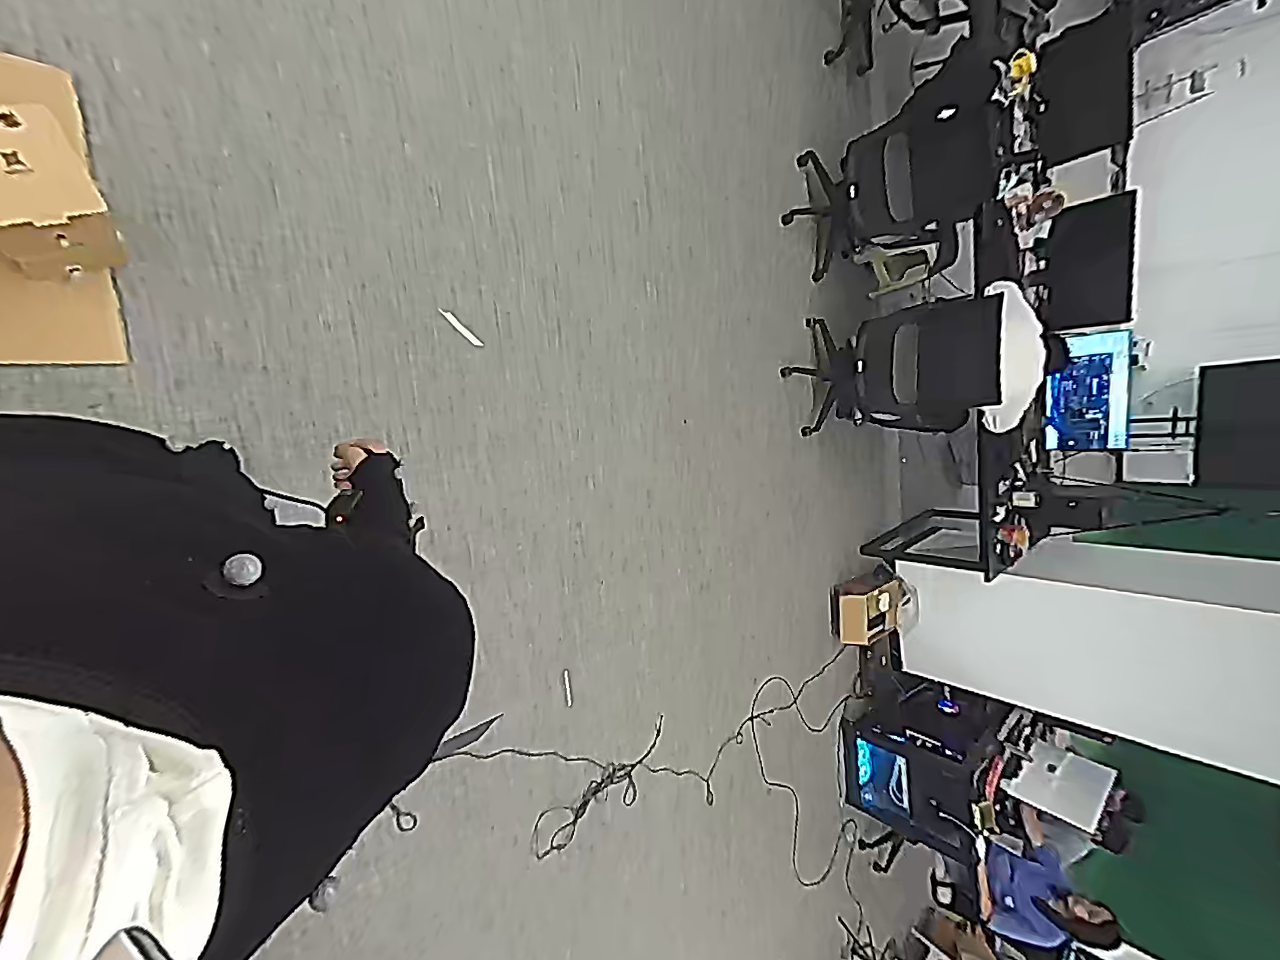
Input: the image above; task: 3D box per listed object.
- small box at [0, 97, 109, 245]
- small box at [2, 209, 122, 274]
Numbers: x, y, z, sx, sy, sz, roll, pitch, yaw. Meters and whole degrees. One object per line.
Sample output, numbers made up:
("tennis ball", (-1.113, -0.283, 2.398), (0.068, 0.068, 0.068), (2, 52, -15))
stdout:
("small box", (-1.066, -0.520, 0.929), (0.168, 0.176, 0.179), (-33, 113, -35))
("small box", (-1.168, -0.528, 1.056), (0.168, 0.176, 0.179), (-35, 113, -33))
